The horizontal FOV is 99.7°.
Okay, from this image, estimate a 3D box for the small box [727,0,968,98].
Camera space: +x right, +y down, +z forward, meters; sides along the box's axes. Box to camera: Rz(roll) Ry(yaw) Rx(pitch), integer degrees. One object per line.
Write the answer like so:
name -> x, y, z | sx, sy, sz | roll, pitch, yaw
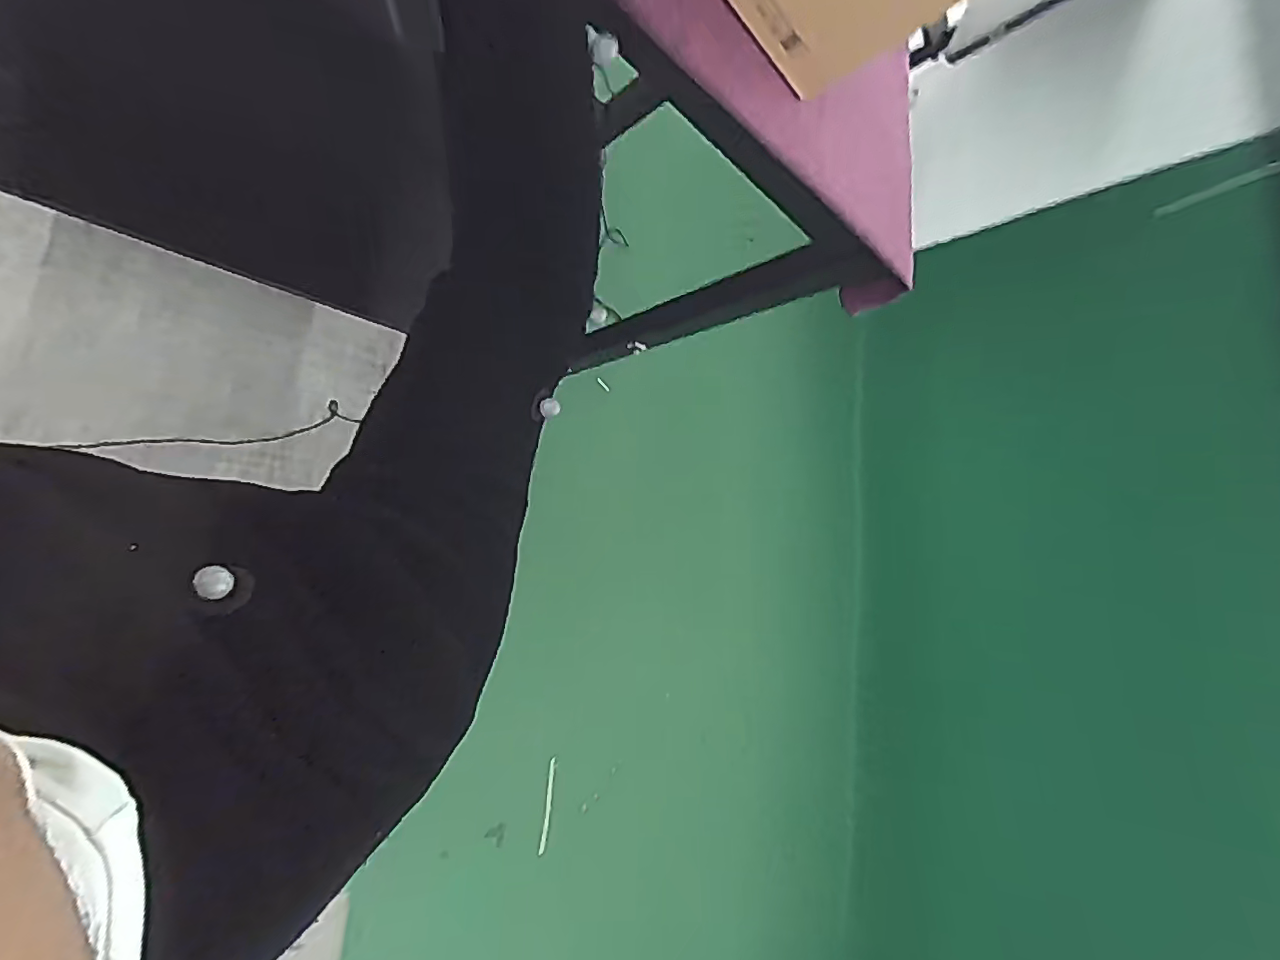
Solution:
small box -> 0.157, -0.454, 0.407 | 0.168, 0.176, 0.179 | 17, 73, -42
